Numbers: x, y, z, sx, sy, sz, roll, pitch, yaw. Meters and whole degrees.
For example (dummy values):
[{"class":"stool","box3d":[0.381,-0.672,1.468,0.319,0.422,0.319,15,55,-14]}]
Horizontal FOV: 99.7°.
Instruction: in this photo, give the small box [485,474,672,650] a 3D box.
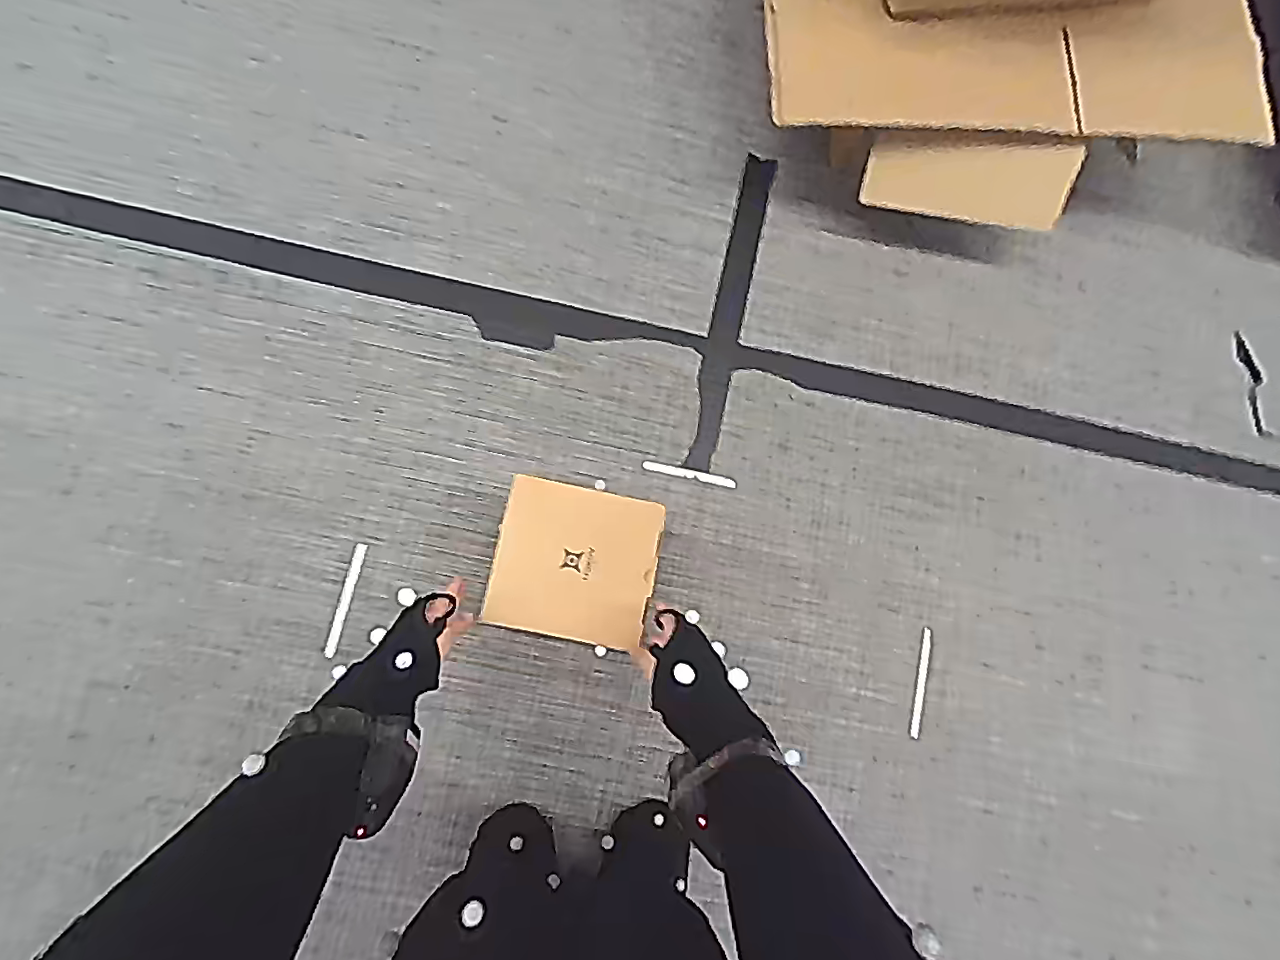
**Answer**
[{"class":"small box","box3d":[-0.072,0.101,0.668,0.179,0.176,0.168,12,81,-4]}]
